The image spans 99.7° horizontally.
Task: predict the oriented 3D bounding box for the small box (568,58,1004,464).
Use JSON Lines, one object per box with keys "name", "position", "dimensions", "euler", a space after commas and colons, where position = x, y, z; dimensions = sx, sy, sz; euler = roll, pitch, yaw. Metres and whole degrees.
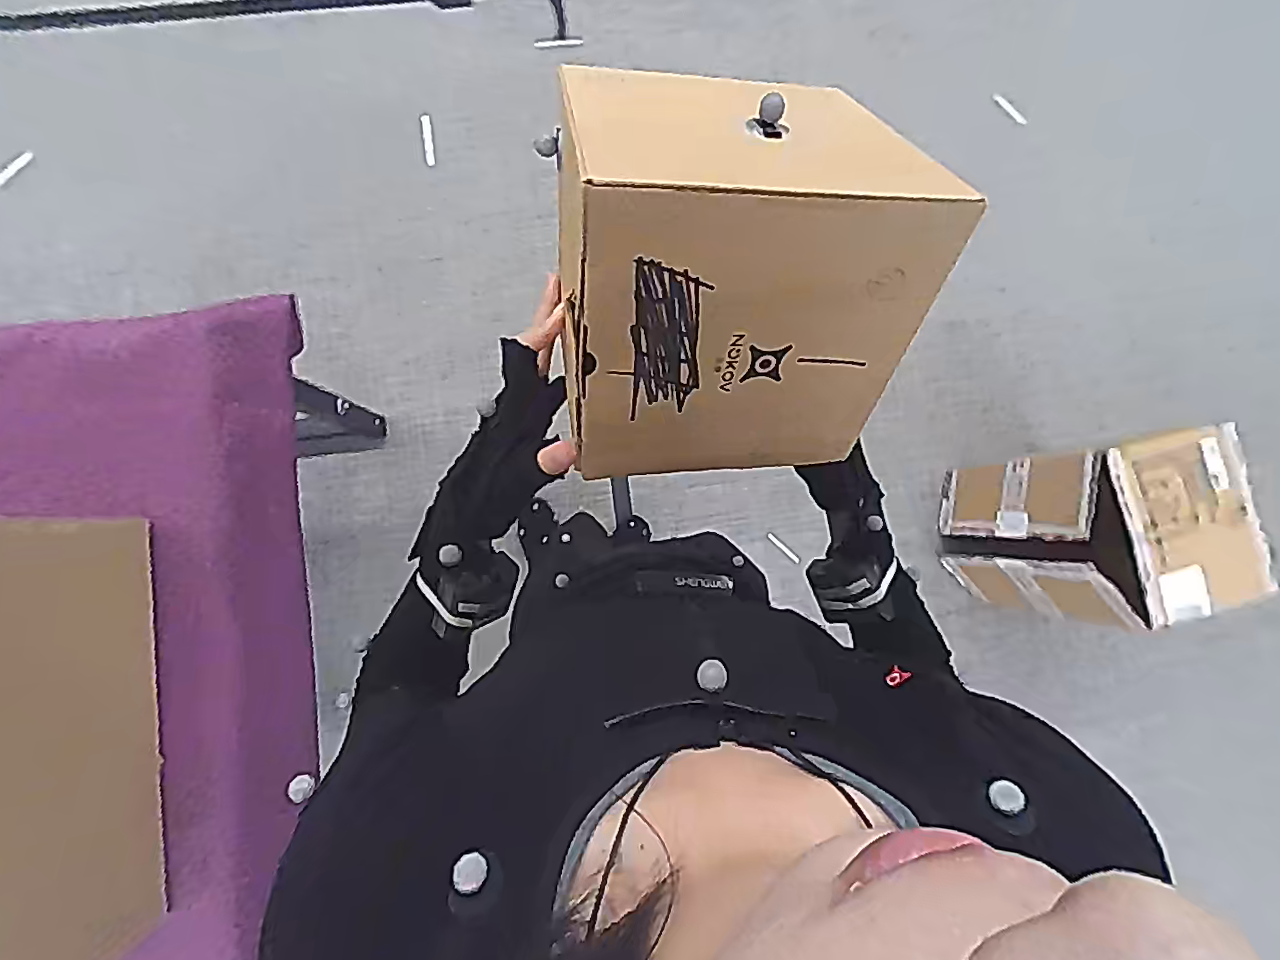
{"name": "small box", "position": [0.049, -0.127, 0.322], "dimensions": [0.179, 0.168, 0.176], "euler": [-2, 49, -11]}
